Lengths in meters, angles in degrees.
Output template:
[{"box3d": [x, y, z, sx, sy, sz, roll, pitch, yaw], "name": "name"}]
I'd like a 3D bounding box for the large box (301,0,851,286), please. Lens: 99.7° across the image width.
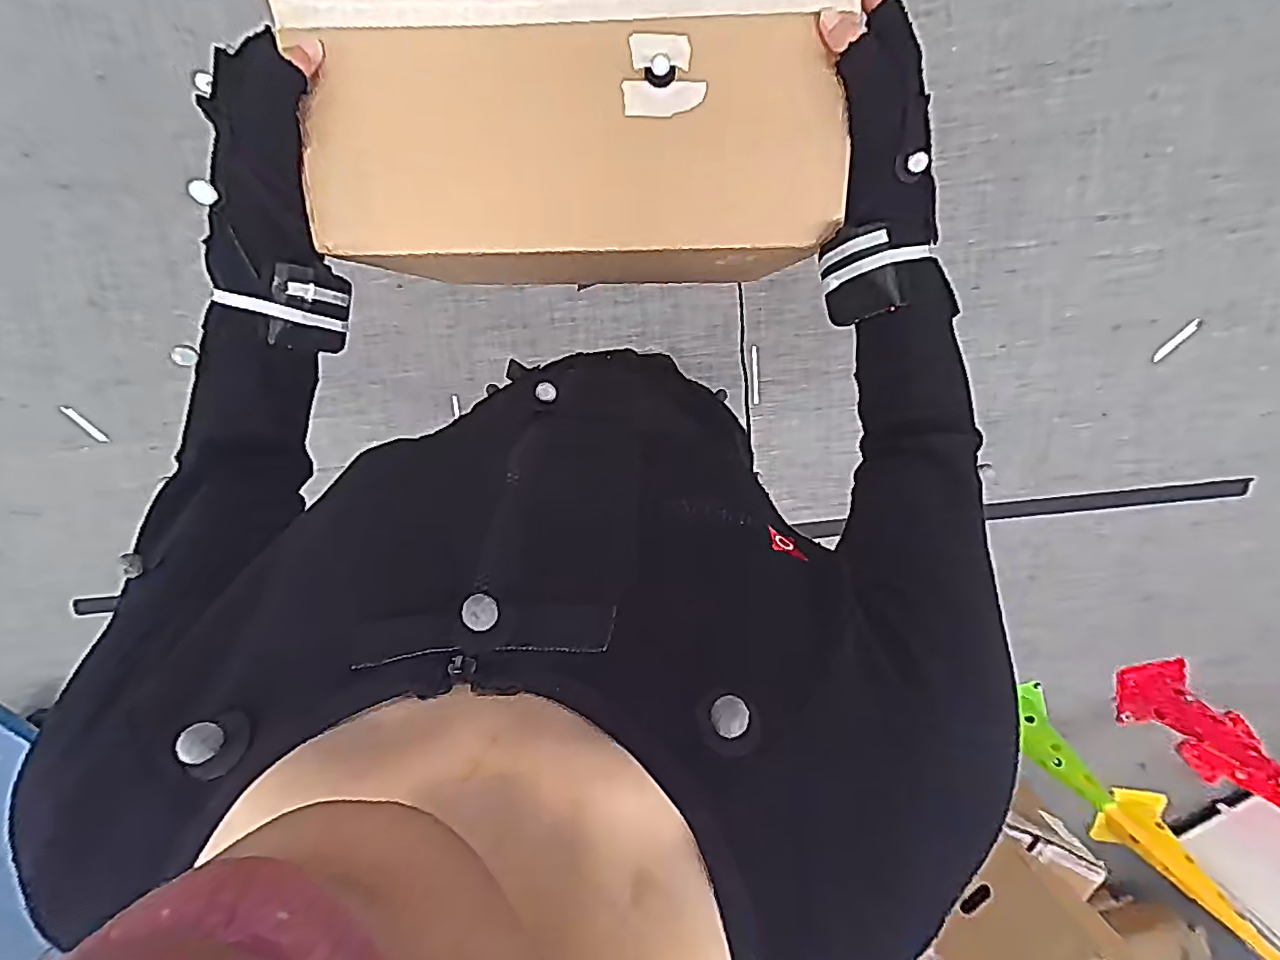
[{"box3d": [-0.047, -0.374, 0.533, 0.408, 0.320, 0.320, -1, 106, 1], "name": "large box"}]
